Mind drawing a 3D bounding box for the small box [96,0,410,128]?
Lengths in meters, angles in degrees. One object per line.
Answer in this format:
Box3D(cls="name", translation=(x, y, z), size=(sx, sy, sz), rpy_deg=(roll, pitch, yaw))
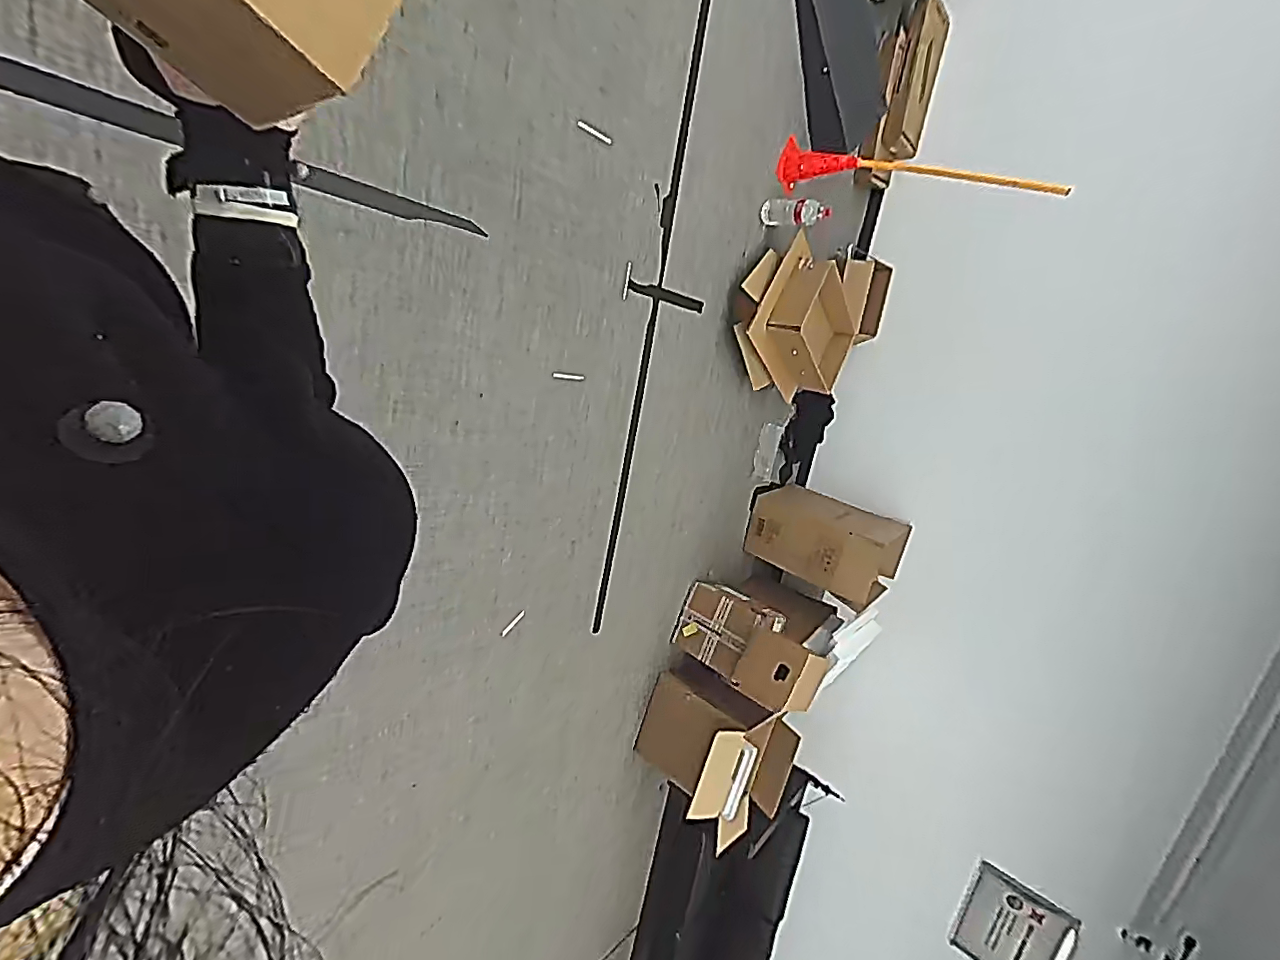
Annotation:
Box3D(cls="small box", translation=(-0.206, -0.312, 0.263), size=(0.168, 0.176, 0.179), rpy_deg=(31, 82, -51))
